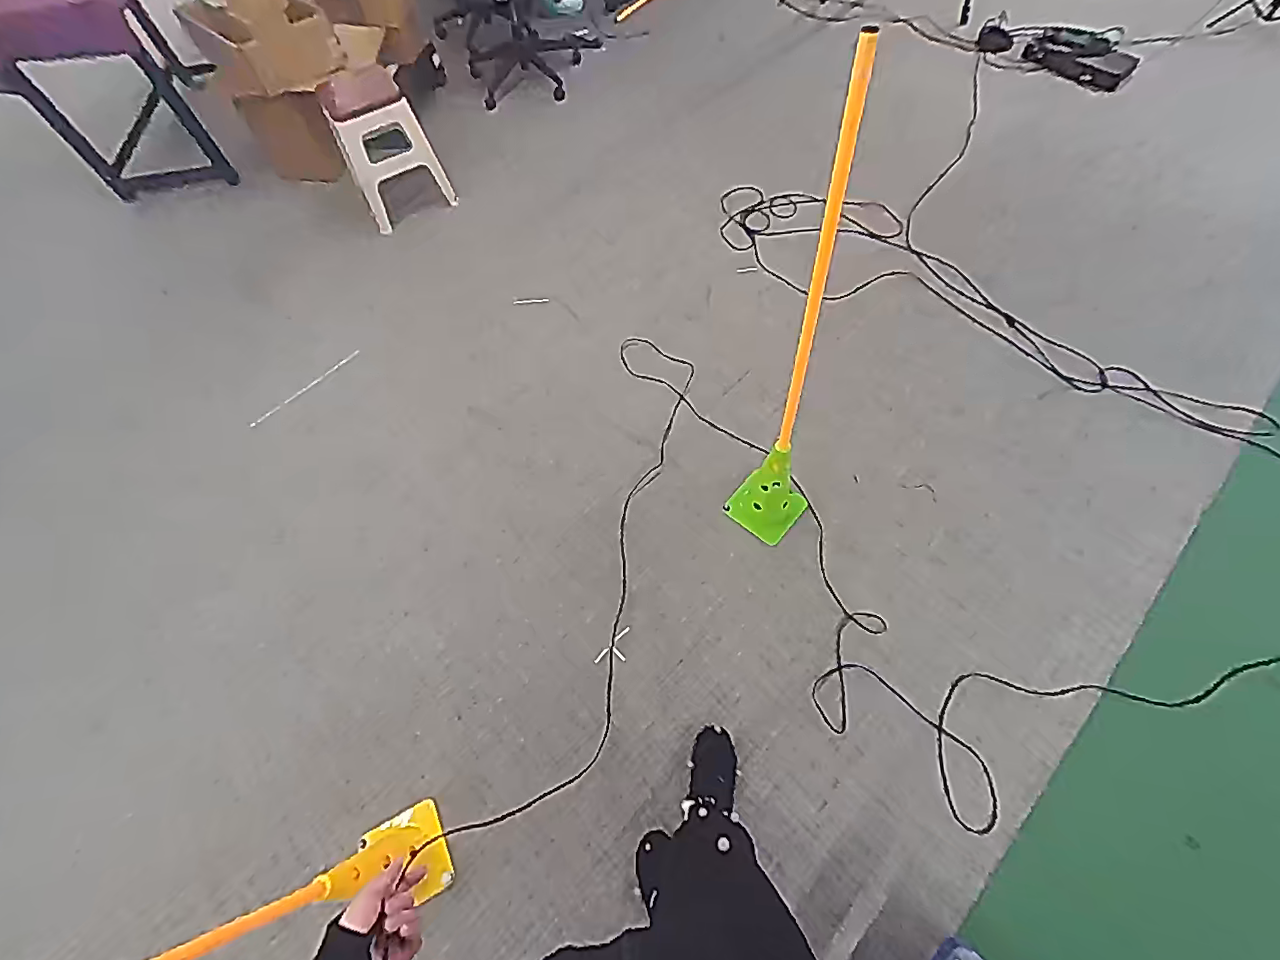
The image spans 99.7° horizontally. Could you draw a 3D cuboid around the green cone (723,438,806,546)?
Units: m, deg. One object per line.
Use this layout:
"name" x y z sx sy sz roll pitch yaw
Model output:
"green cone" 0.376 0.002 1.520 0.200 0.368 0.202 37 69 21
